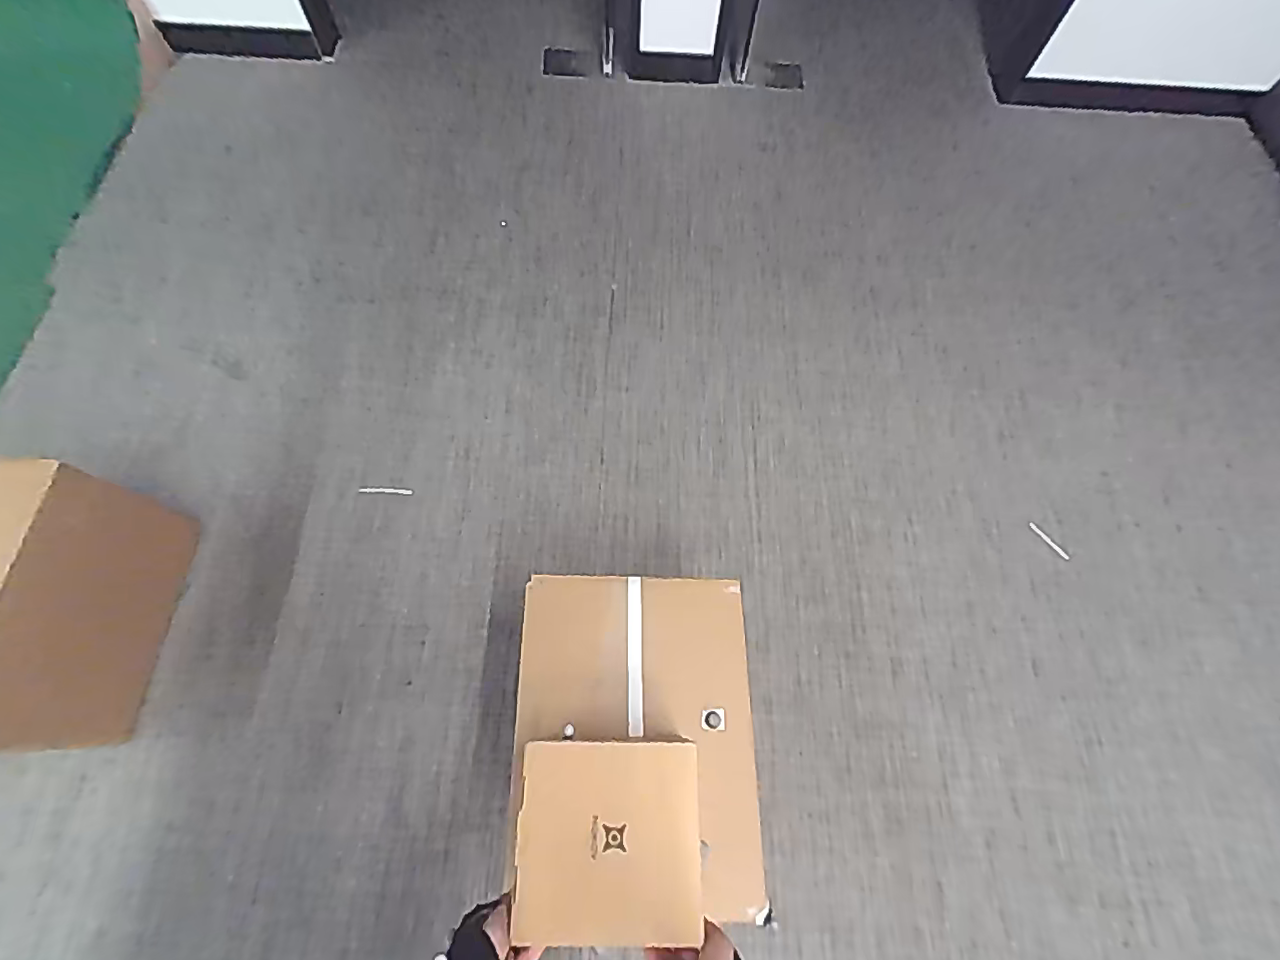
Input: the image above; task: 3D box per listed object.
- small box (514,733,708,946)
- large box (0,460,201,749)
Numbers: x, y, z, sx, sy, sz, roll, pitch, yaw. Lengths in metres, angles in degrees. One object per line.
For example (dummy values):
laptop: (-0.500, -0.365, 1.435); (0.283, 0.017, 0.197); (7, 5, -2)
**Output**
small box: (-0.026, 0.368, 0.586); (0.179, 0.176, 0.168); (0, 67, 0)
large box: (-1.021, 0.212, 0.869); (0.320, 0.320, 0.408); (1, 66, -2)
